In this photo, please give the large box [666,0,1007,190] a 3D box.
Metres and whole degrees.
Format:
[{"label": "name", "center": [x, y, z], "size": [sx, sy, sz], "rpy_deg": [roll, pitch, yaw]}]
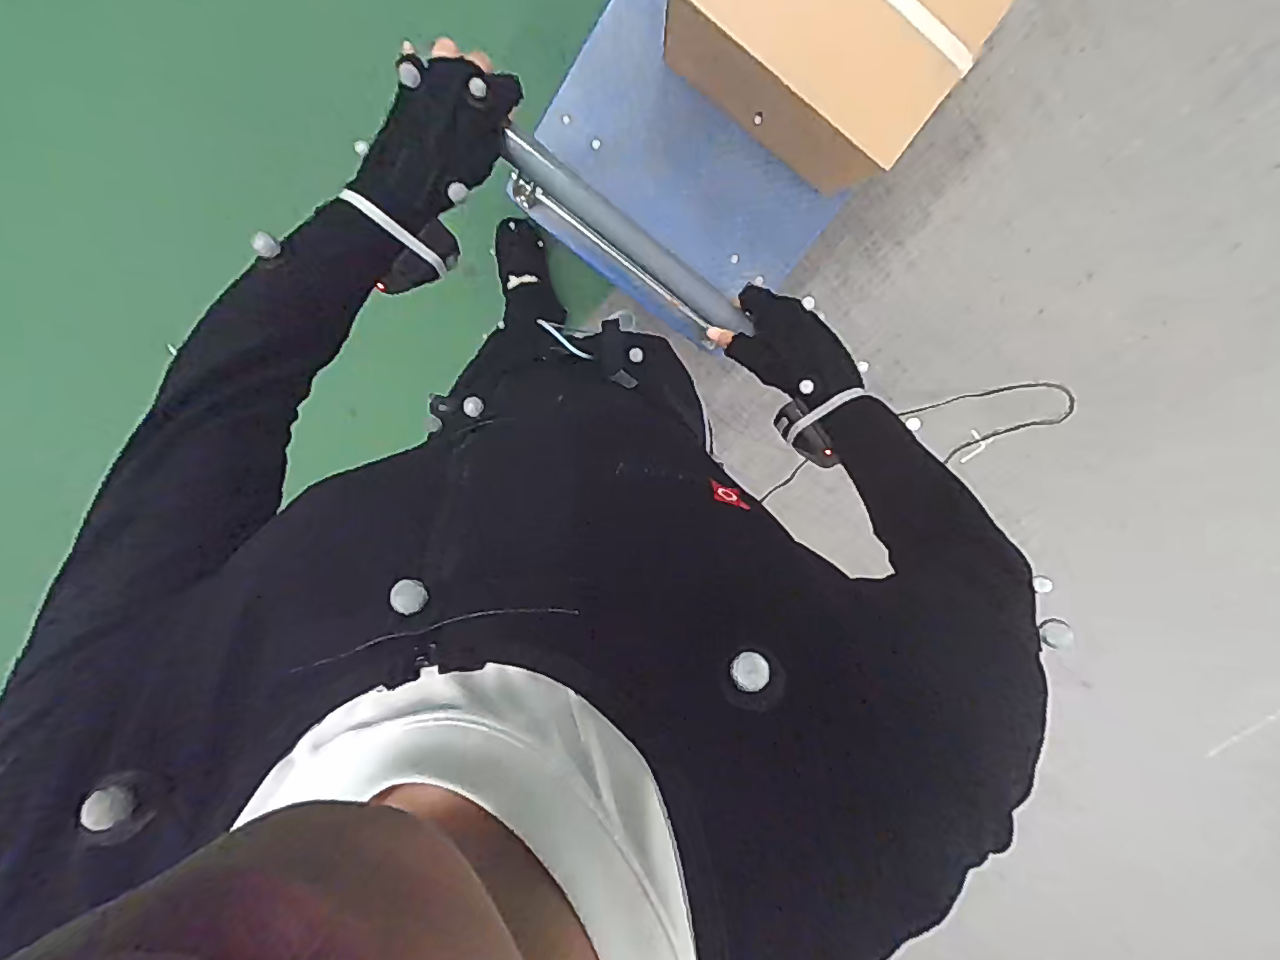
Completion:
[{"label": "large box", "center": [0.290, -0.739, 0.863], "size": [0.408, 0.320, 0.320], "rpy_deg": [34, 108, -10]}]
